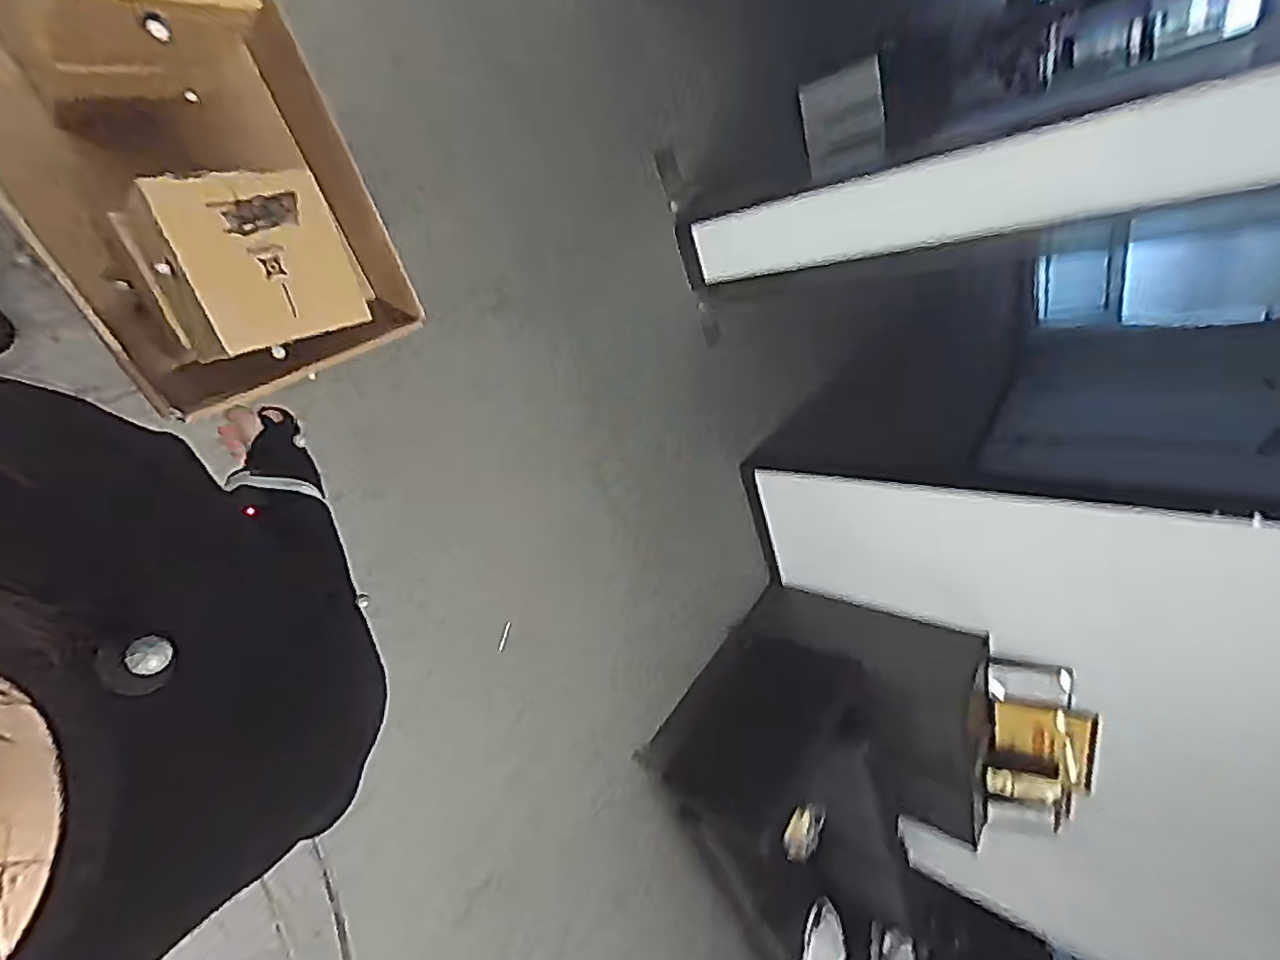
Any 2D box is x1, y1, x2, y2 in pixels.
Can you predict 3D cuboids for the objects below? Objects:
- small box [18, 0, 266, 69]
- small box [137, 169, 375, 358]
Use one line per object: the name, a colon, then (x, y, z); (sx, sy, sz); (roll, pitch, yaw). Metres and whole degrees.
small box: (-0.528, -0.544, 0.544); (0.179, 0.176, 0.168); (-34, 120, -38)
small box: (-0.465, -0.256, 0.658); (0.168, 0.176, 0.179); (-33, 120, -39)
